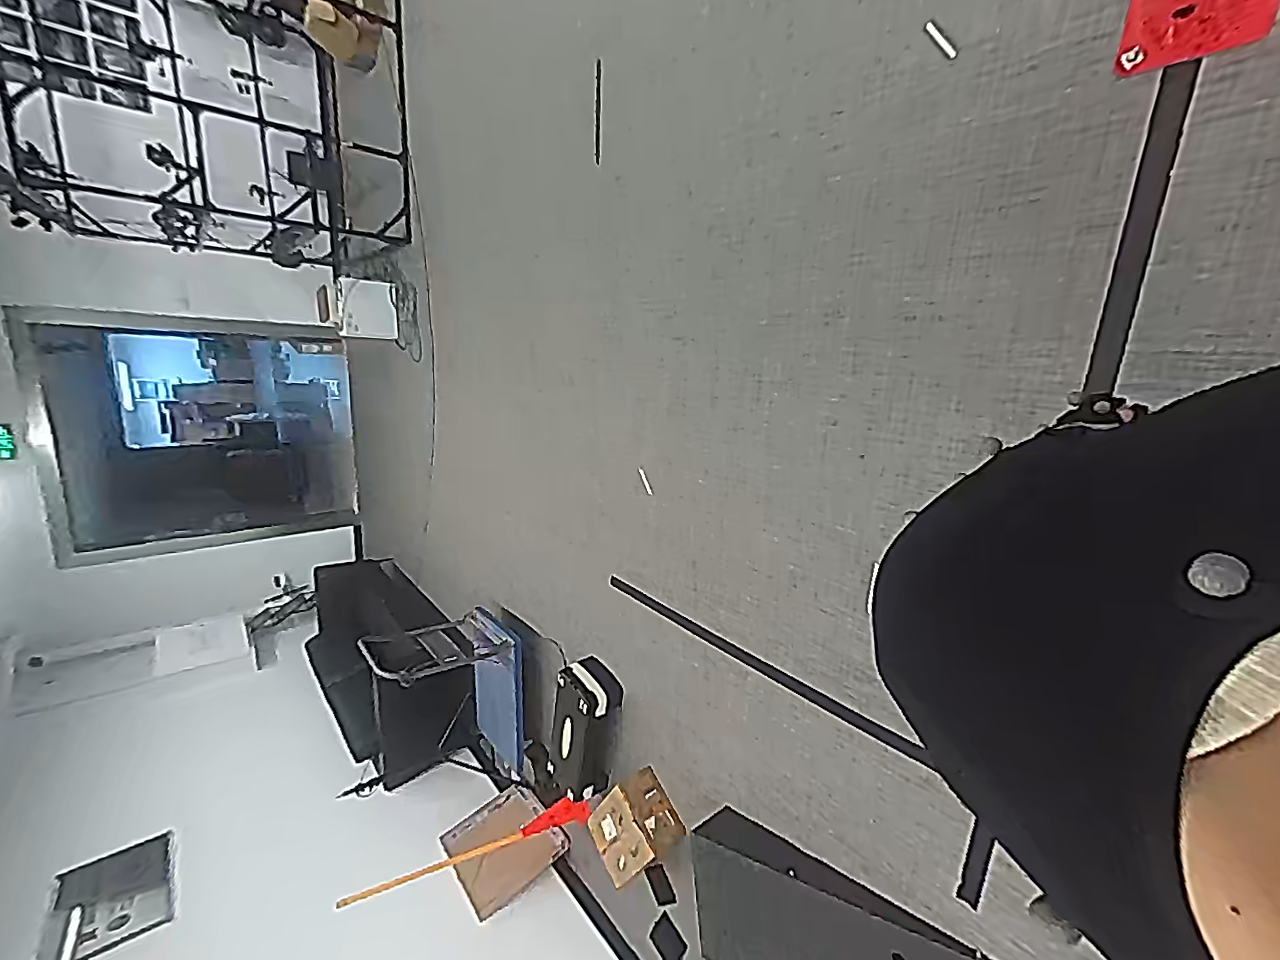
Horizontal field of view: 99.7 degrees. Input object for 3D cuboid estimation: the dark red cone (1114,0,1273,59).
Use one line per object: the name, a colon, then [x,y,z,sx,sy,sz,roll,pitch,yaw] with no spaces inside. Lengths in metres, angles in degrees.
dark red cone: [0.815,-0.828,0.801,0.201,0.394,0.202,17,109,47]
